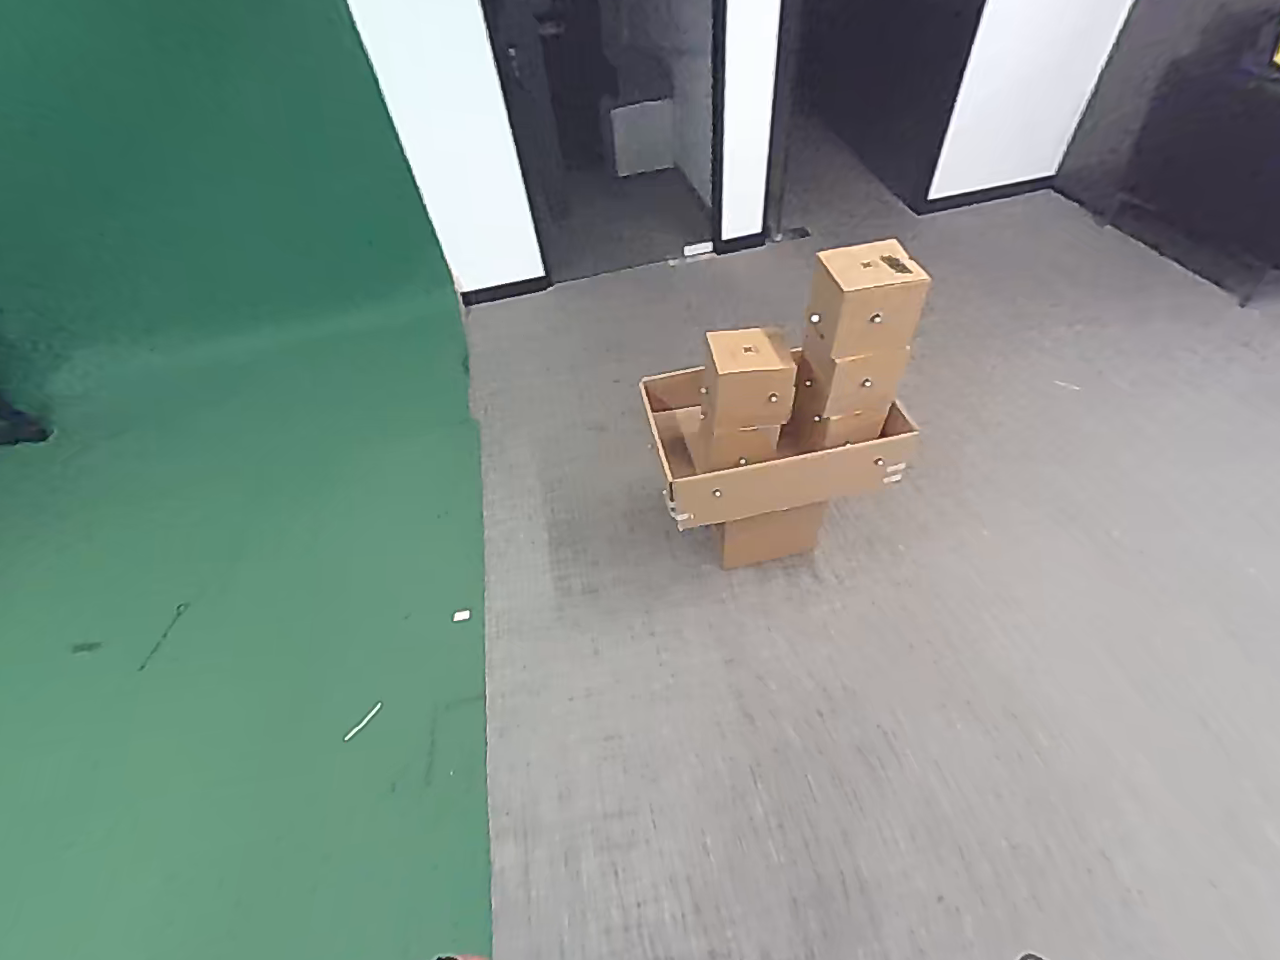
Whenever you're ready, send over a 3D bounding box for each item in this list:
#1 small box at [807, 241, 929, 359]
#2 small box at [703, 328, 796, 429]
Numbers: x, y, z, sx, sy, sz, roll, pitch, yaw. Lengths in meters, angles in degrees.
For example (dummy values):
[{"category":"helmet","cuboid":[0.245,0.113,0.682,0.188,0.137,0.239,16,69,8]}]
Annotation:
[{"category":"small box","cuboid":[0.479,-0.385,1.166,0.179,0.176,0.168,-10,49,0]},{"category":"small box","cuboid":[0.252,-0.239,1.285,0.179,0.176,0.168,-5,48,-1]}]
